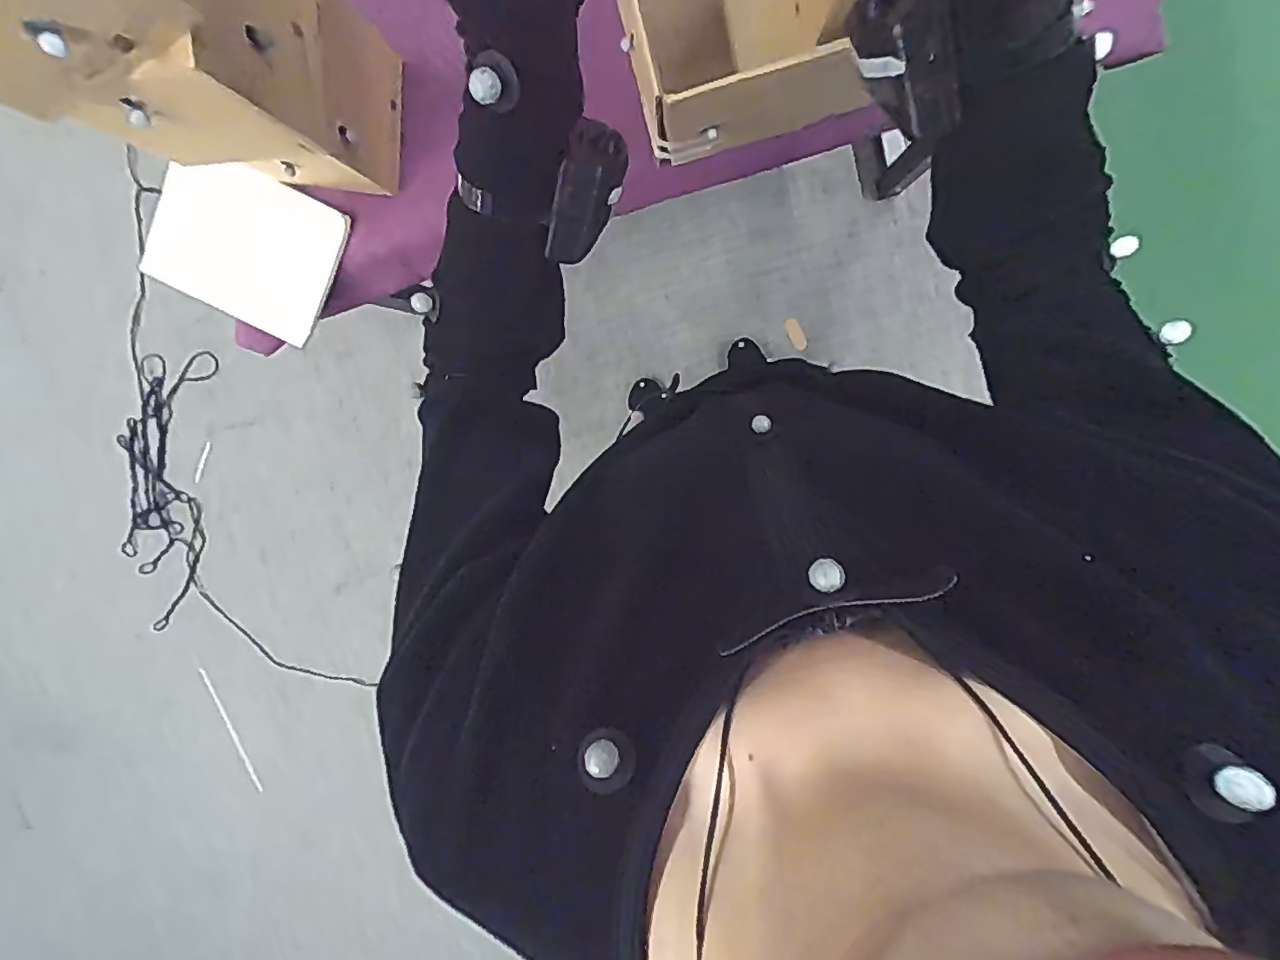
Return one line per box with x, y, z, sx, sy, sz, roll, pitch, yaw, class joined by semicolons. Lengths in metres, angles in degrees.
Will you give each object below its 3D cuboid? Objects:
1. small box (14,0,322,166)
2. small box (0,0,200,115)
-0.421;-0.410;0.494;0.179;0.176;0.168;-1;100;6;small box
-0.442;-0.381;0.333;0.168;0.176;0.179;-23;98;10;small box
